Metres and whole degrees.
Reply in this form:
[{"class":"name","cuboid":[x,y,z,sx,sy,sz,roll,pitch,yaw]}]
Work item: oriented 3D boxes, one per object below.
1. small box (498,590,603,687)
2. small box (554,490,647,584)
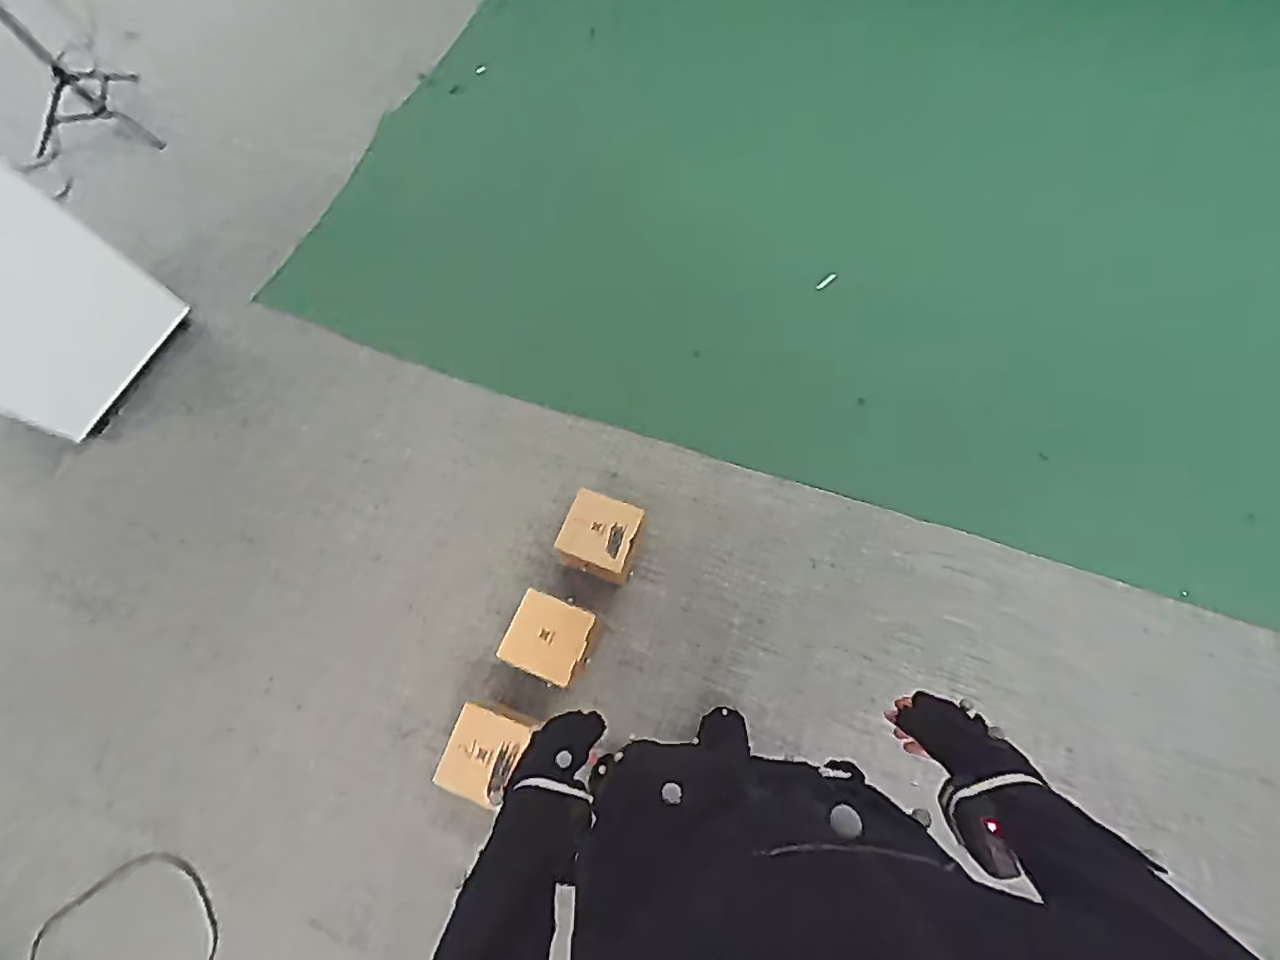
[{"class":"small box","cuboid":[-0.202,0.381,1.279,0.179,0.176,0.168,20,71,10]},{"class":"small box","cuboid":[-0.090,0.151,1.364,0.179,0.176,0.168,20,71,11]}]
